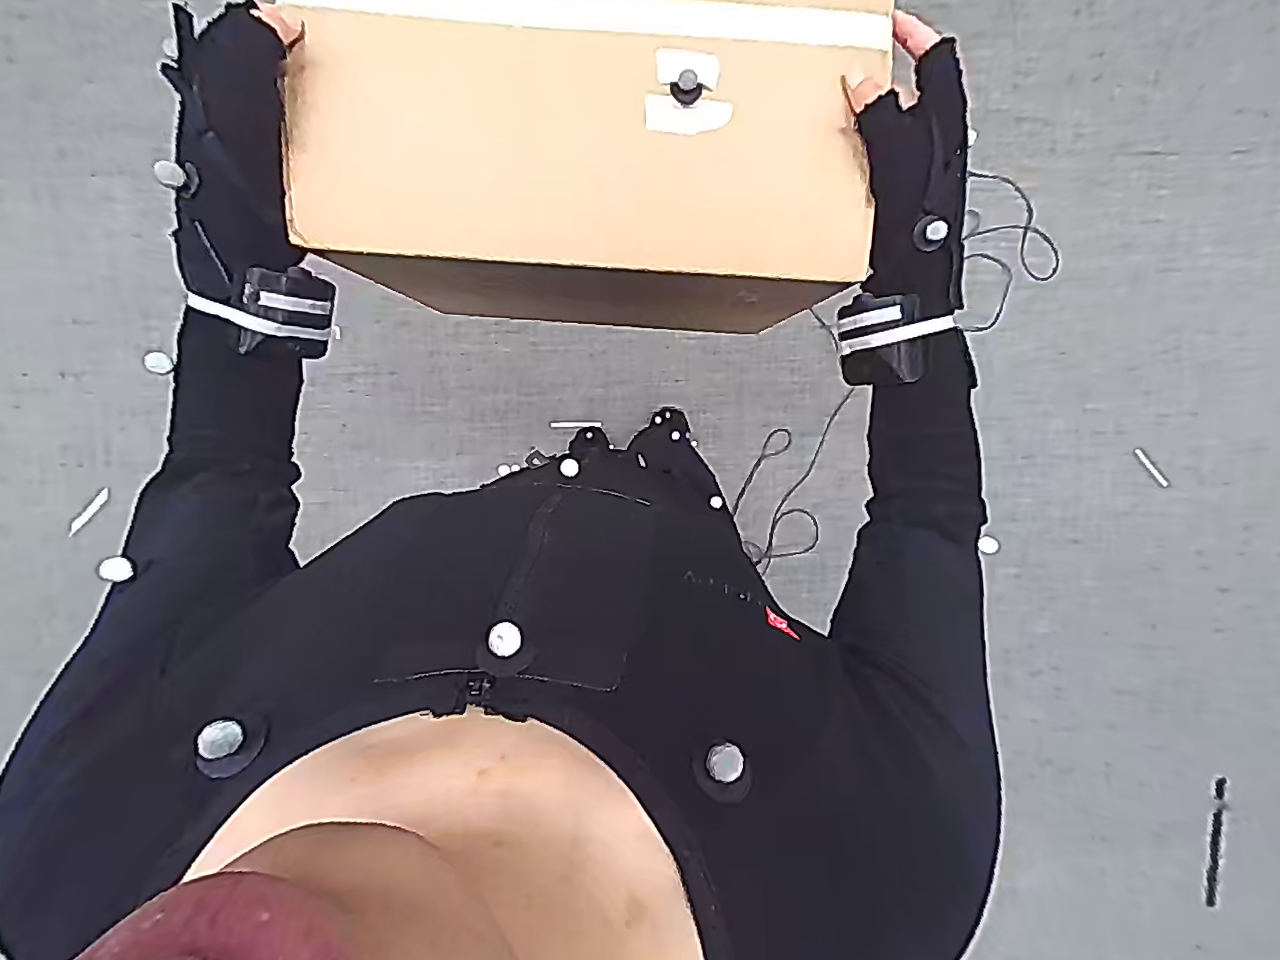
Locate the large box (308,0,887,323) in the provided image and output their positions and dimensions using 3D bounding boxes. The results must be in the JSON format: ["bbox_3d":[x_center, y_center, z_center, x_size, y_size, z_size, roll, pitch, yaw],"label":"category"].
[{"bbox_3d":[-0.033,-0.339,0.521,0.408,0.320,0.320,3,99,-3],"label":"large box"}]
